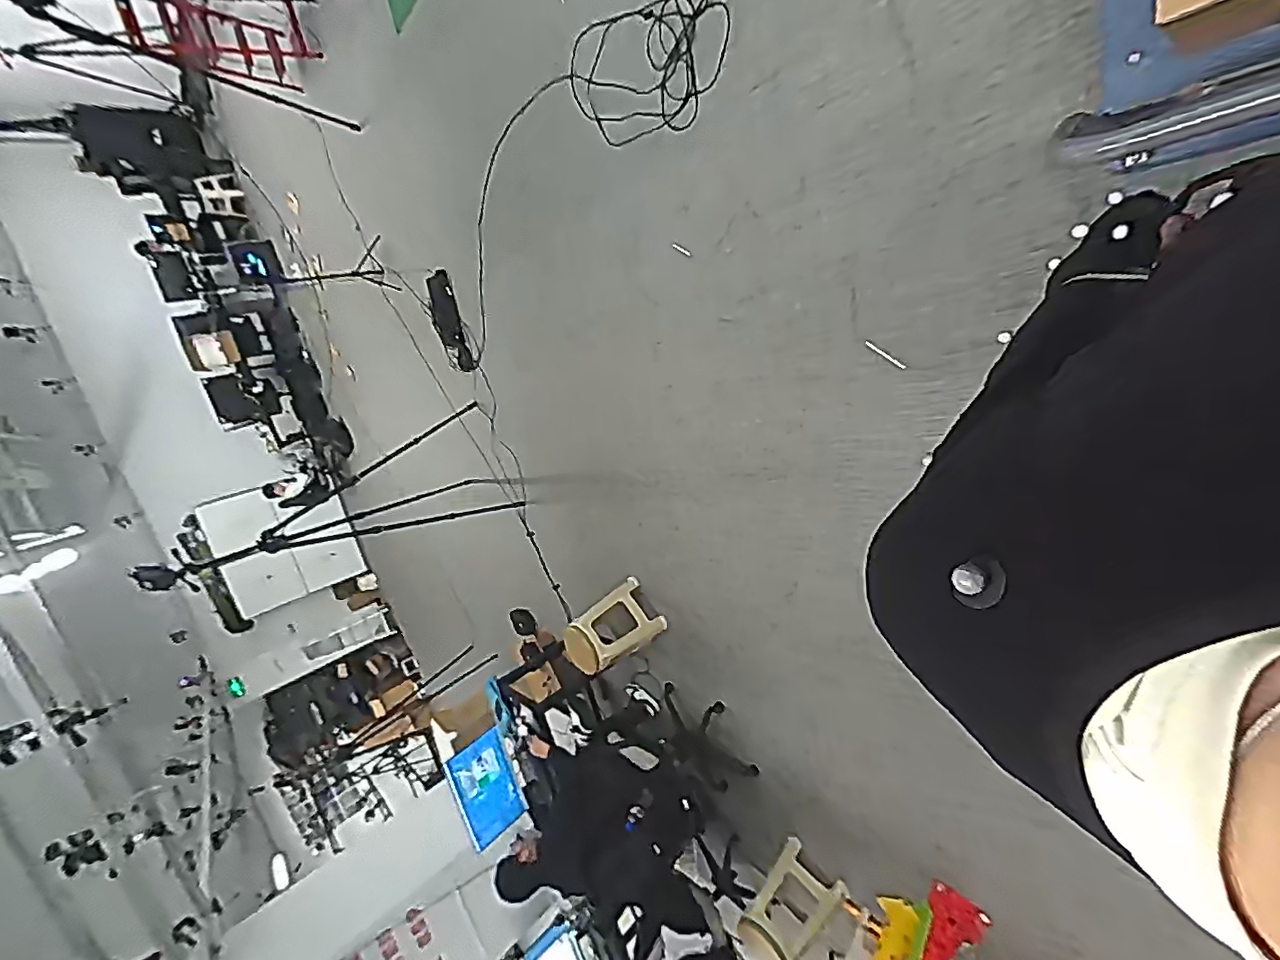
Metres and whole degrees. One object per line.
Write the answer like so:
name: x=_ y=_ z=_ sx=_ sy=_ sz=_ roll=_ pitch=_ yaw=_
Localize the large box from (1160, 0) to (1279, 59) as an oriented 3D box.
large box: x=0.883 y=-0.833 z=0.658 sx=0.320 sy=0.320 sz=0.408 roll=8 pitch=115 yaw=48
